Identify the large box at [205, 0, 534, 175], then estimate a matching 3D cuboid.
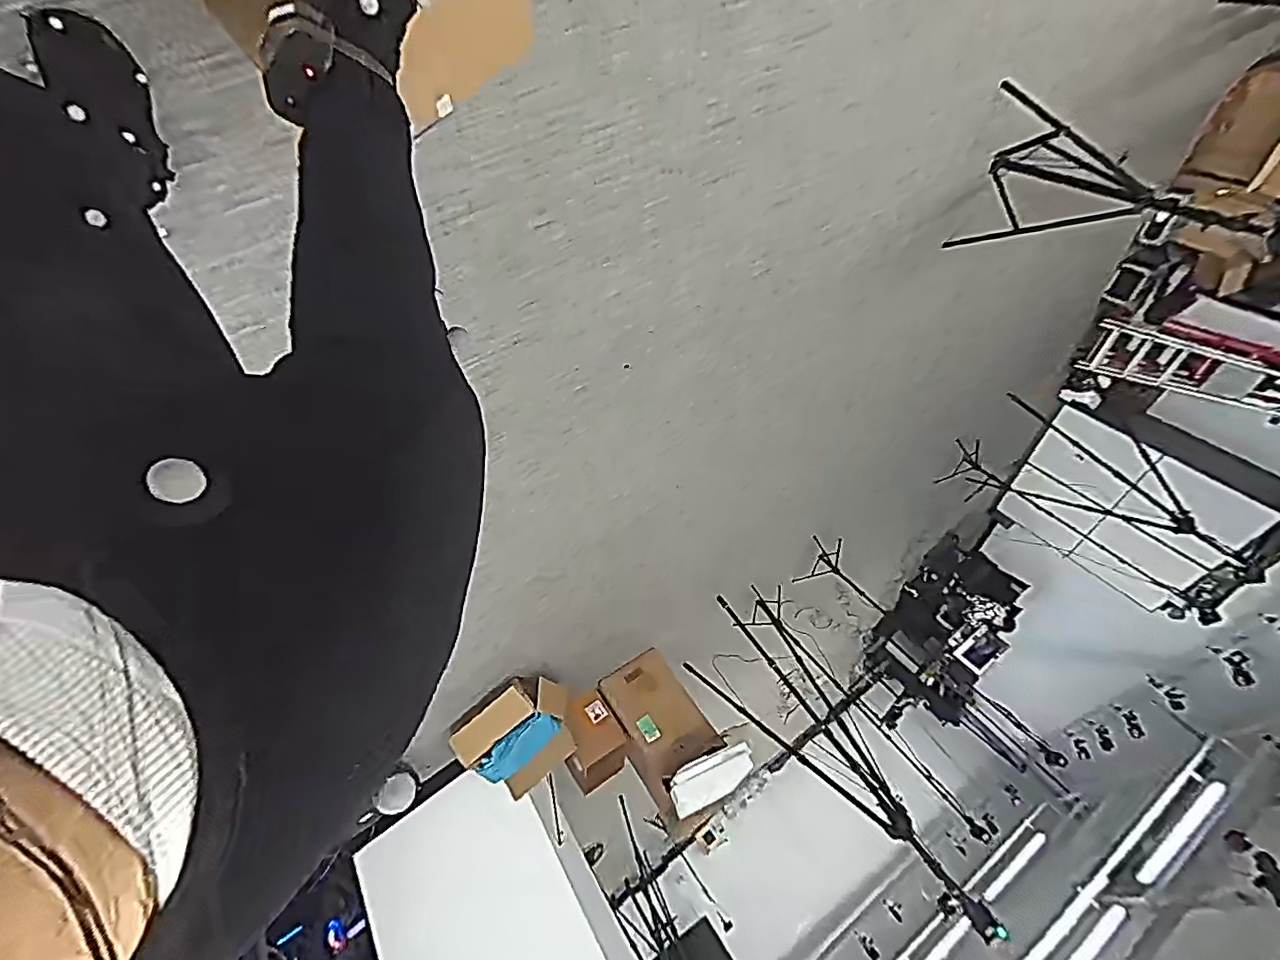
[{"bbox_3d":[-0.362,-0.633,0.554,0.320,0.408,0.320,-40,-171,0],"label":"large box"}]
